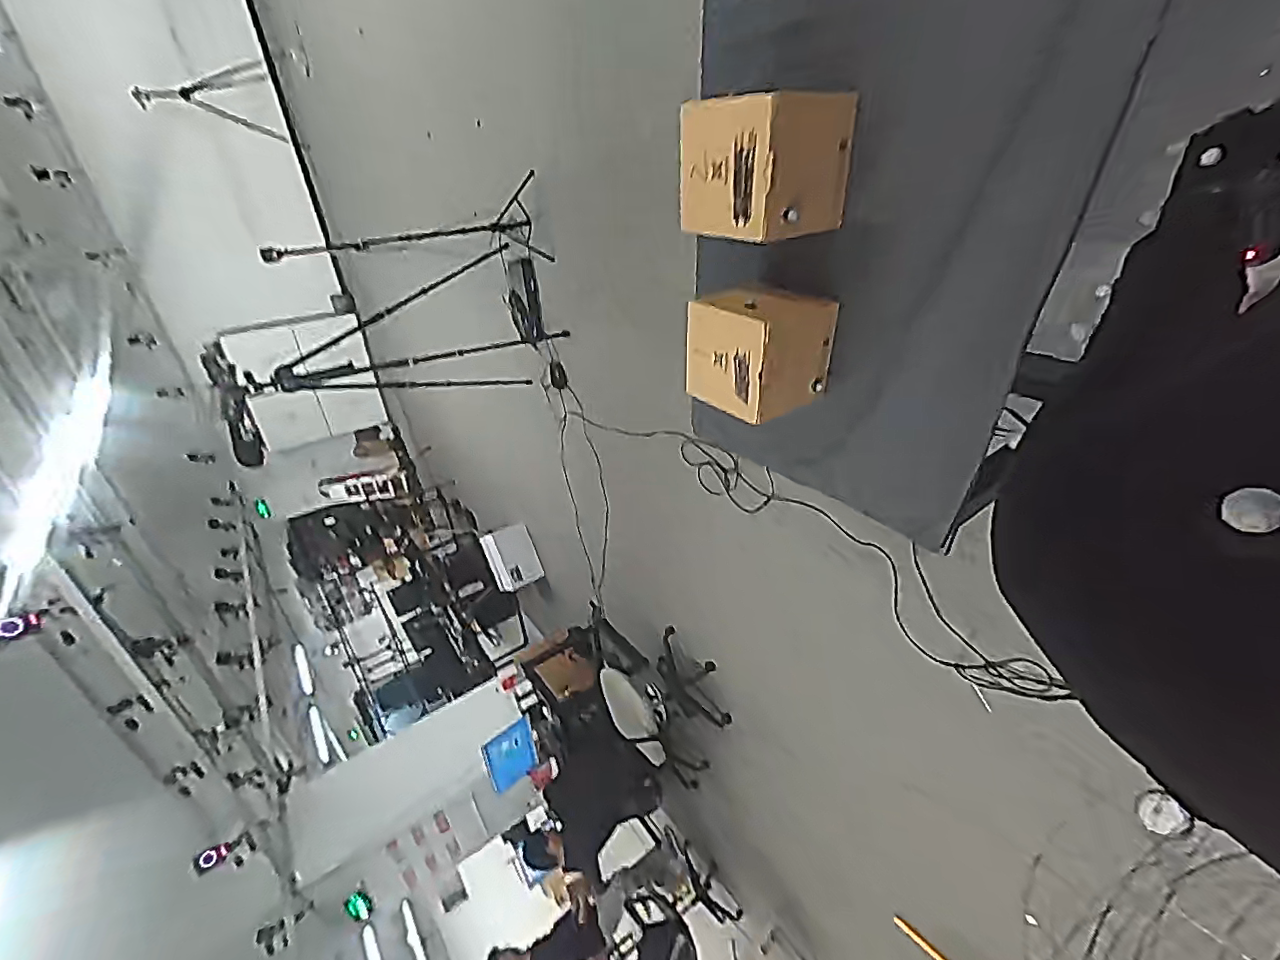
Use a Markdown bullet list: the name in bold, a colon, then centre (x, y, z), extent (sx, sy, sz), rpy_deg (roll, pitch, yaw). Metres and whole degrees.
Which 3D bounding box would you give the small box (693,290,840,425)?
- **small box**: centre (0.209, -0.216, 0.913), extent (0.179, 0.176, 0.168), rpy_deg (36, 137, 44)
